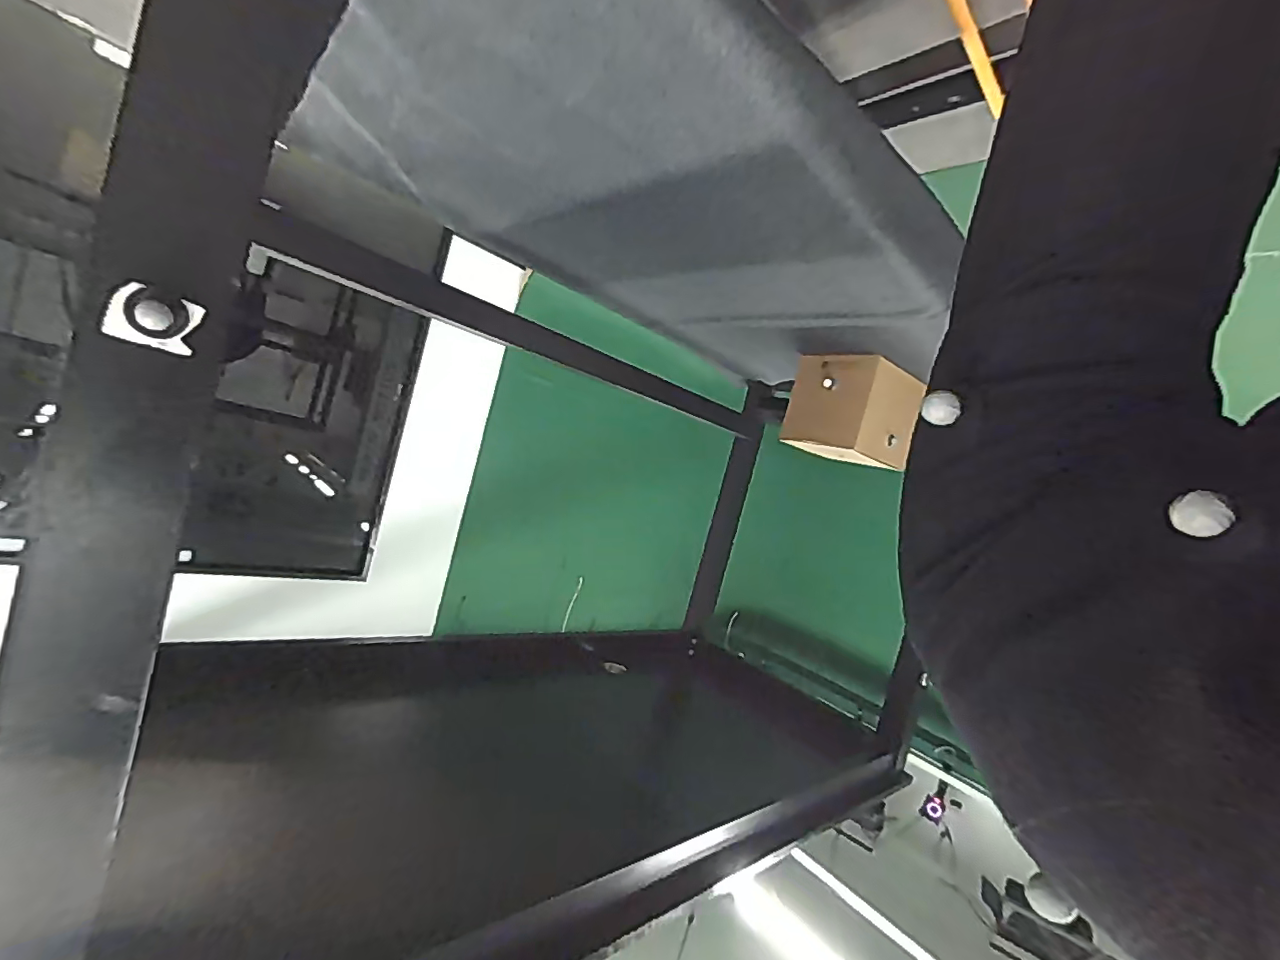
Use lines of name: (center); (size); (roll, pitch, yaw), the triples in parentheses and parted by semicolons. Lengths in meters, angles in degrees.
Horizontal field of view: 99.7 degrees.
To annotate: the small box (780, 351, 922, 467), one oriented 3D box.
small box: (0.401, -0.136, 1.023); (0.179, 0.176, 0.168); (14, -178, -36)
